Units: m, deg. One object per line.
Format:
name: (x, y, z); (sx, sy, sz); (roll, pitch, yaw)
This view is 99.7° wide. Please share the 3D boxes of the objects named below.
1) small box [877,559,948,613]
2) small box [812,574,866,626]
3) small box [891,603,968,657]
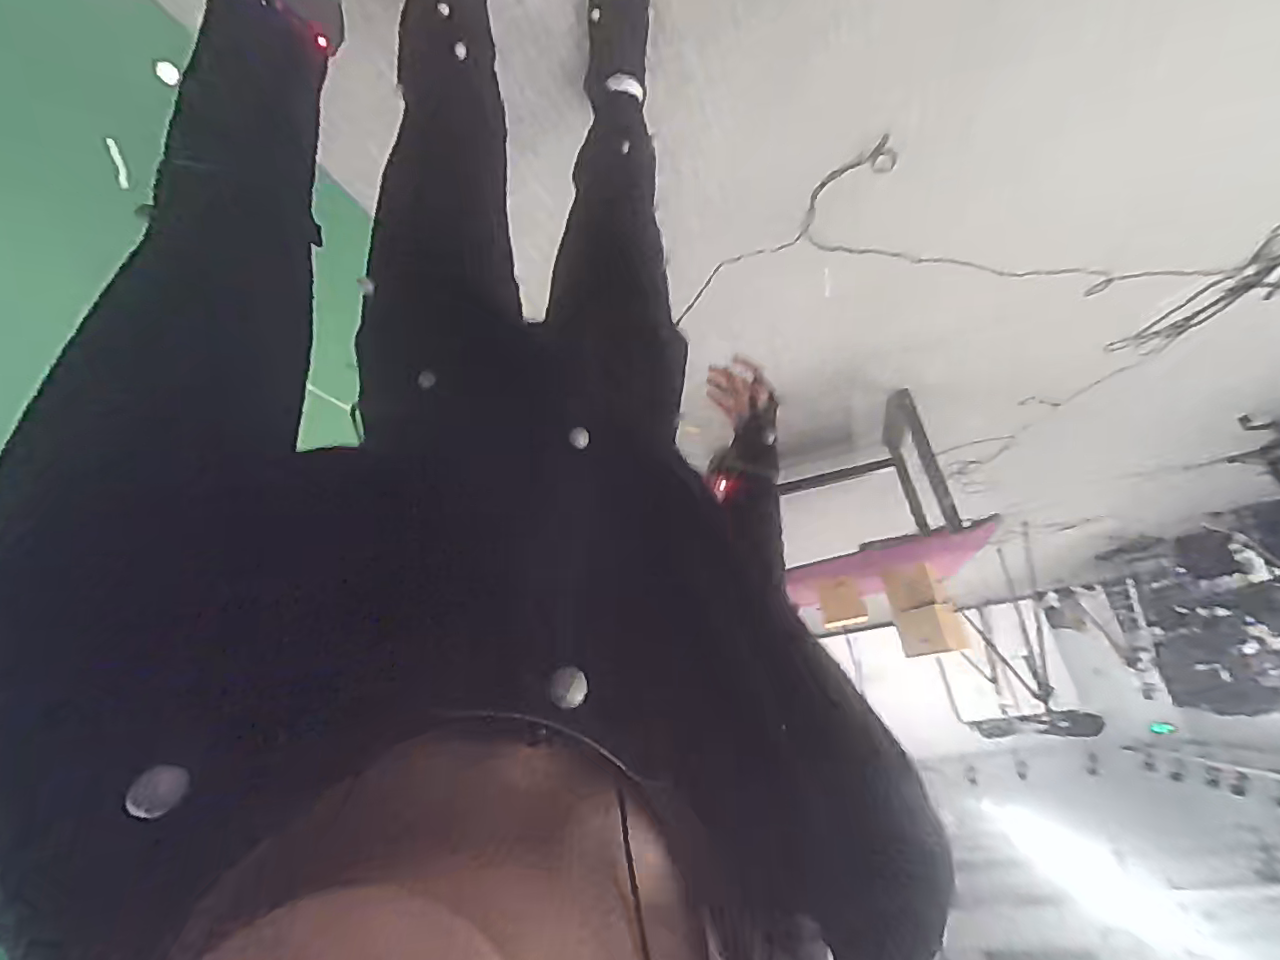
small box: (1.059, 0.415, 2.104); (0.179, 0.176, 0.168); (-27, 150, 36)
small box: (0.795, 0.483, 2.169); (0.168, 0.176, 0.179); (-15, 156, 13)
small box: (1.078, 0.559, 2.024); (0.168, 0.176, 0.179); (9, 152, -34)
